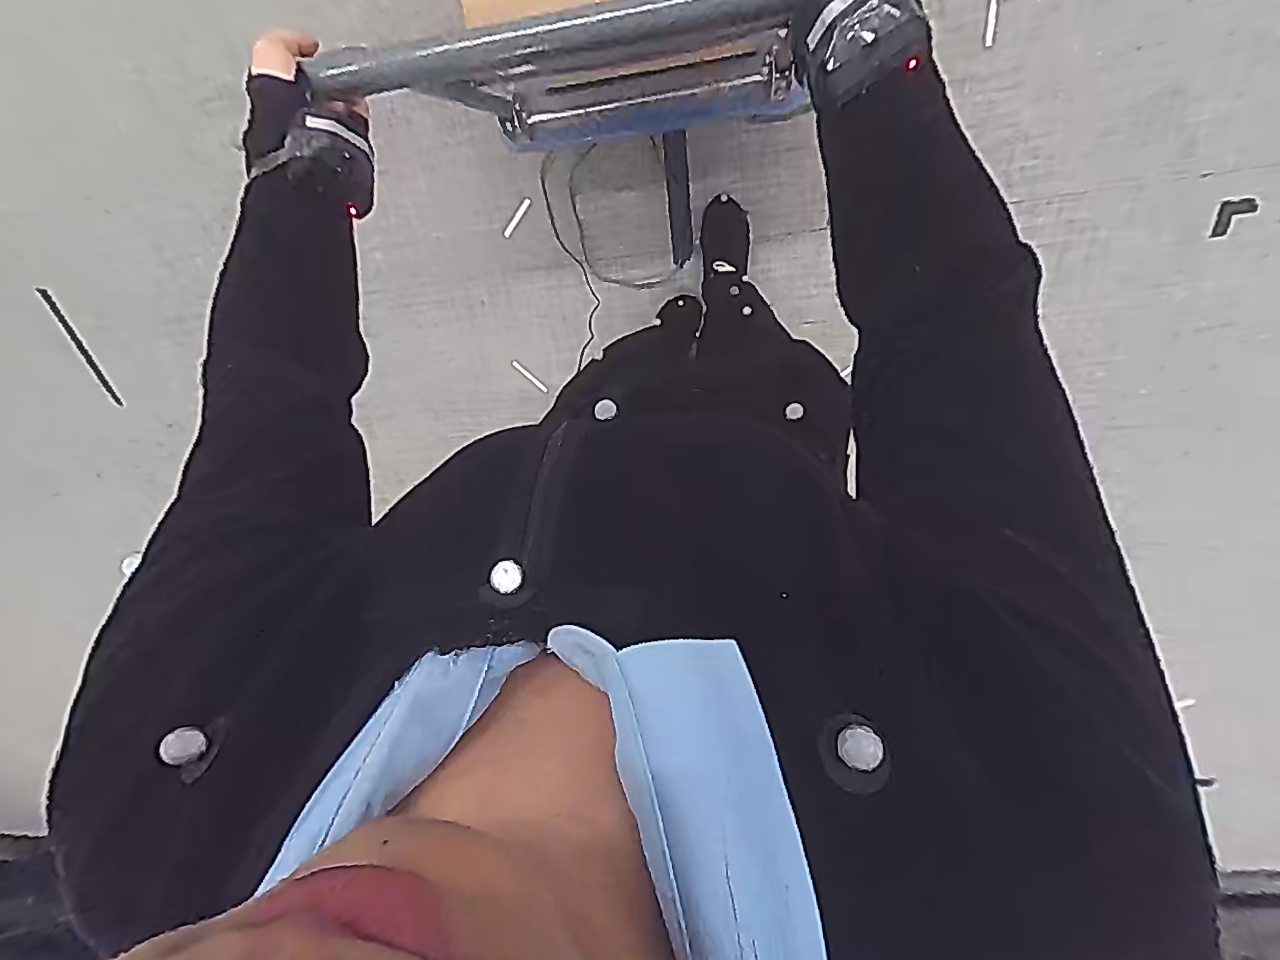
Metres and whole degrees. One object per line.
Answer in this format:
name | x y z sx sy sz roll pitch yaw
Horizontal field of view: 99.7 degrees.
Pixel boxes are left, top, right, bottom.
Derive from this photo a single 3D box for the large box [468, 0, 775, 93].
large box | -0.030 -0.789 0.769 0.408 0.320 0.320 -4 121 10
